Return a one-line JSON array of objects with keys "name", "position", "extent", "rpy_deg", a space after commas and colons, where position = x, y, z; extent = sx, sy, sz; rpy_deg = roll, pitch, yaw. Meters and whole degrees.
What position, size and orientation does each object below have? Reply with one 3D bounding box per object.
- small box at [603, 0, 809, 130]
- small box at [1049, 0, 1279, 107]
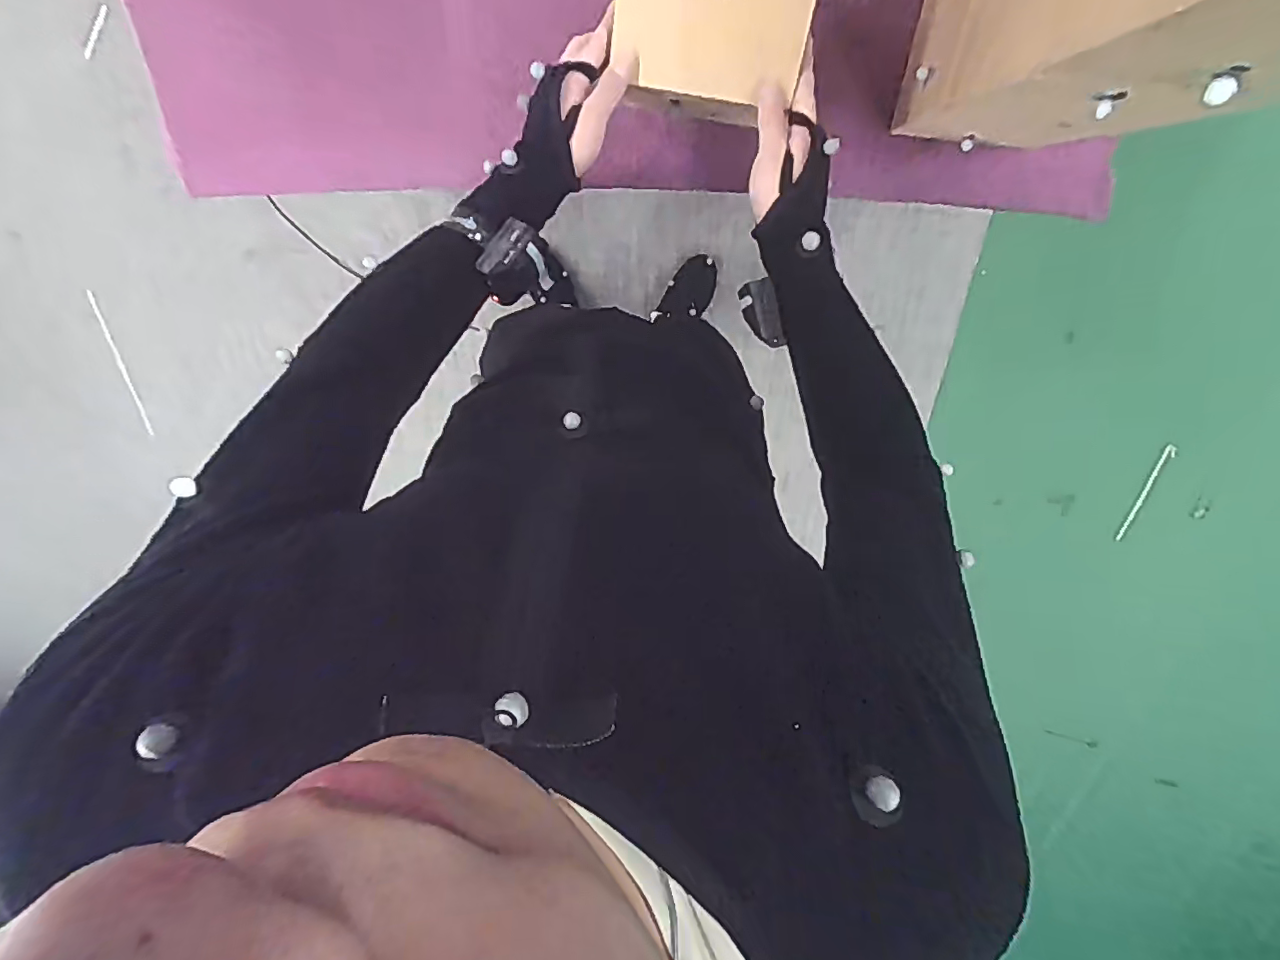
[{"name": "small box", "position": [0.066, -0.447, 0.507], "extent": [0.168, 0.176, 0.179], "rpy_deg": [9, 118, 0]}, {"name": "small box", "position": [0.341, -0.296, 0.246], "extent": [0.168, 0.176, 0.179], "rpy_deg": [9, 118, 3]}]
